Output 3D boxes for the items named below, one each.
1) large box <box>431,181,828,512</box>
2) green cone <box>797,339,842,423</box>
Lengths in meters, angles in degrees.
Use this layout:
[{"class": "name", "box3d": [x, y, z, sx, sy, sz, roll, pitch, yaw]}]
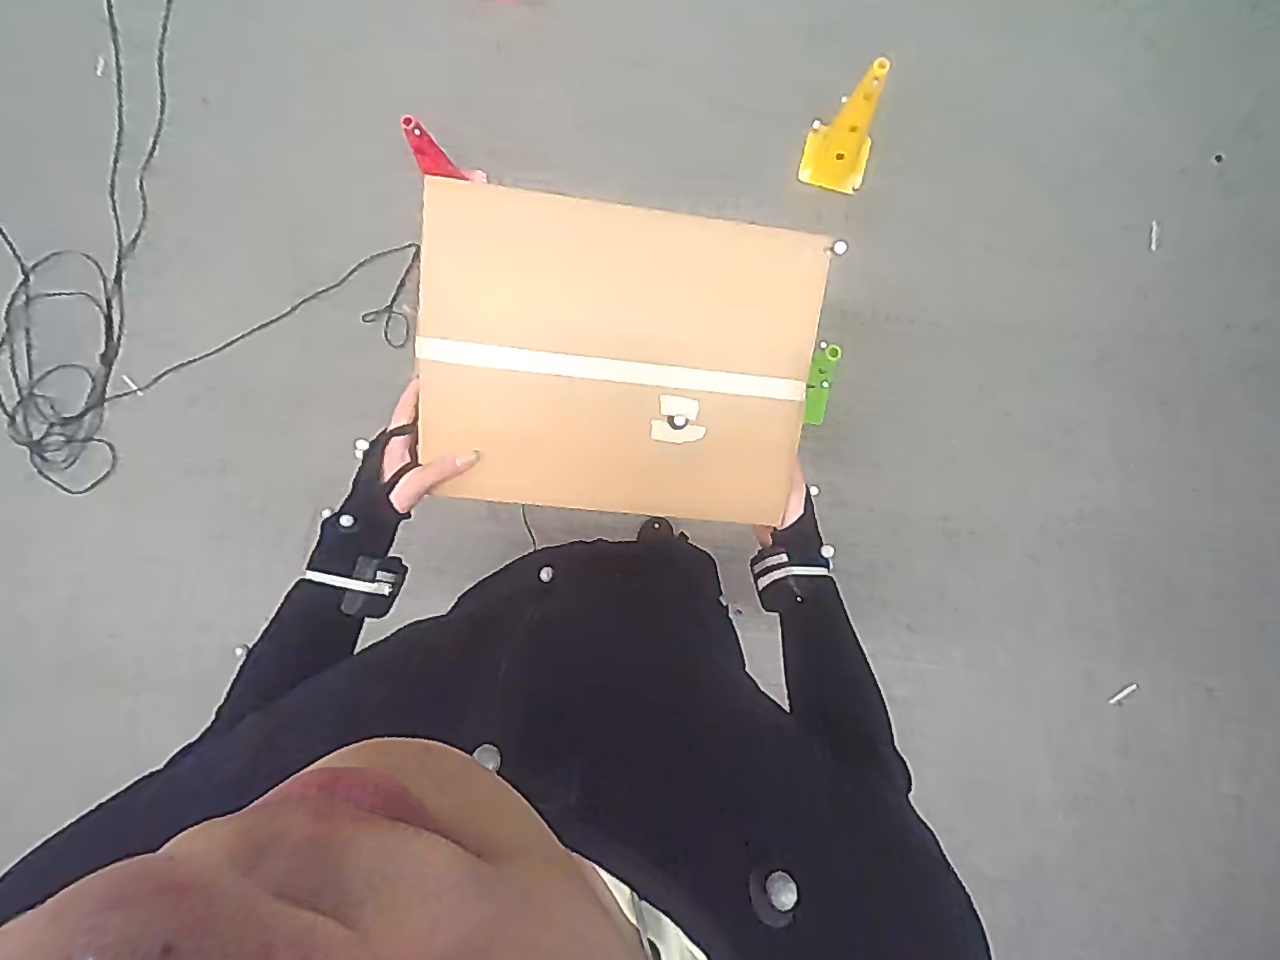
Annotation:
[{"class": "large box", "box3d": [-0.031, -0.159, 0.715, 0.408, 0.320, 0.320, 5, 104, -7]}, {"class": "green cone", "box3d": [0.478, -0.302, 1.496, 0.200, 0.368, 0.202, 12, 85, 1]}]
